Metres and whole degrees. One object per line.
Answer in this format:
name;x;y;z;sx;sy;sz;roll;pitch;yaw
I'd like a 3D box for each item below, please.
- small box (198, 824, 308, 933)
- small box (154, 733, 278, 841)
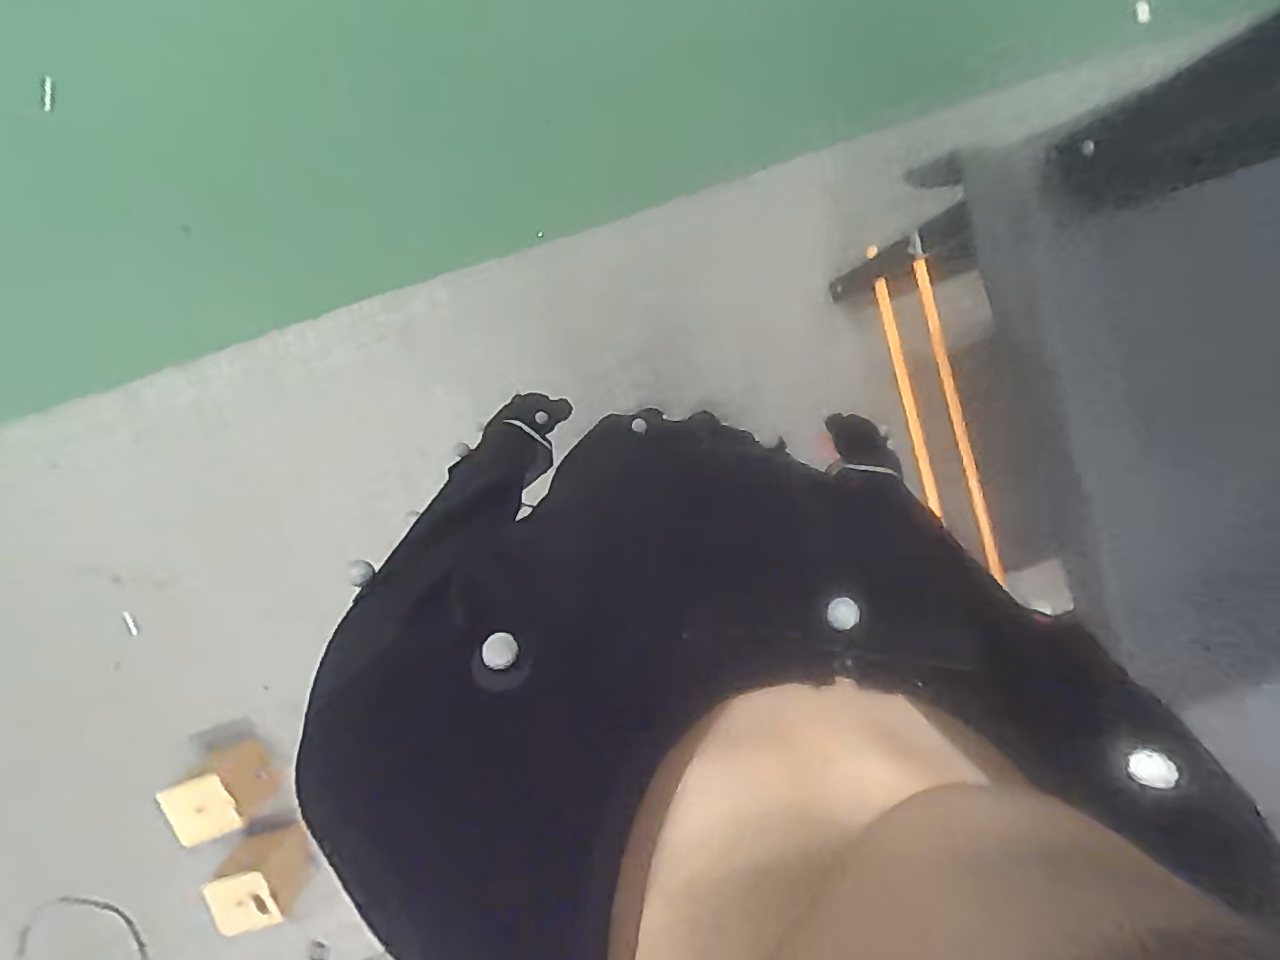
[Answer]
small box;-1.079;1.116;1.529;0.179;0.176;0.168;-15;98;2
small box;-1.159;0.839;1.491;0.179;0.176;0.168;-20;98;1
